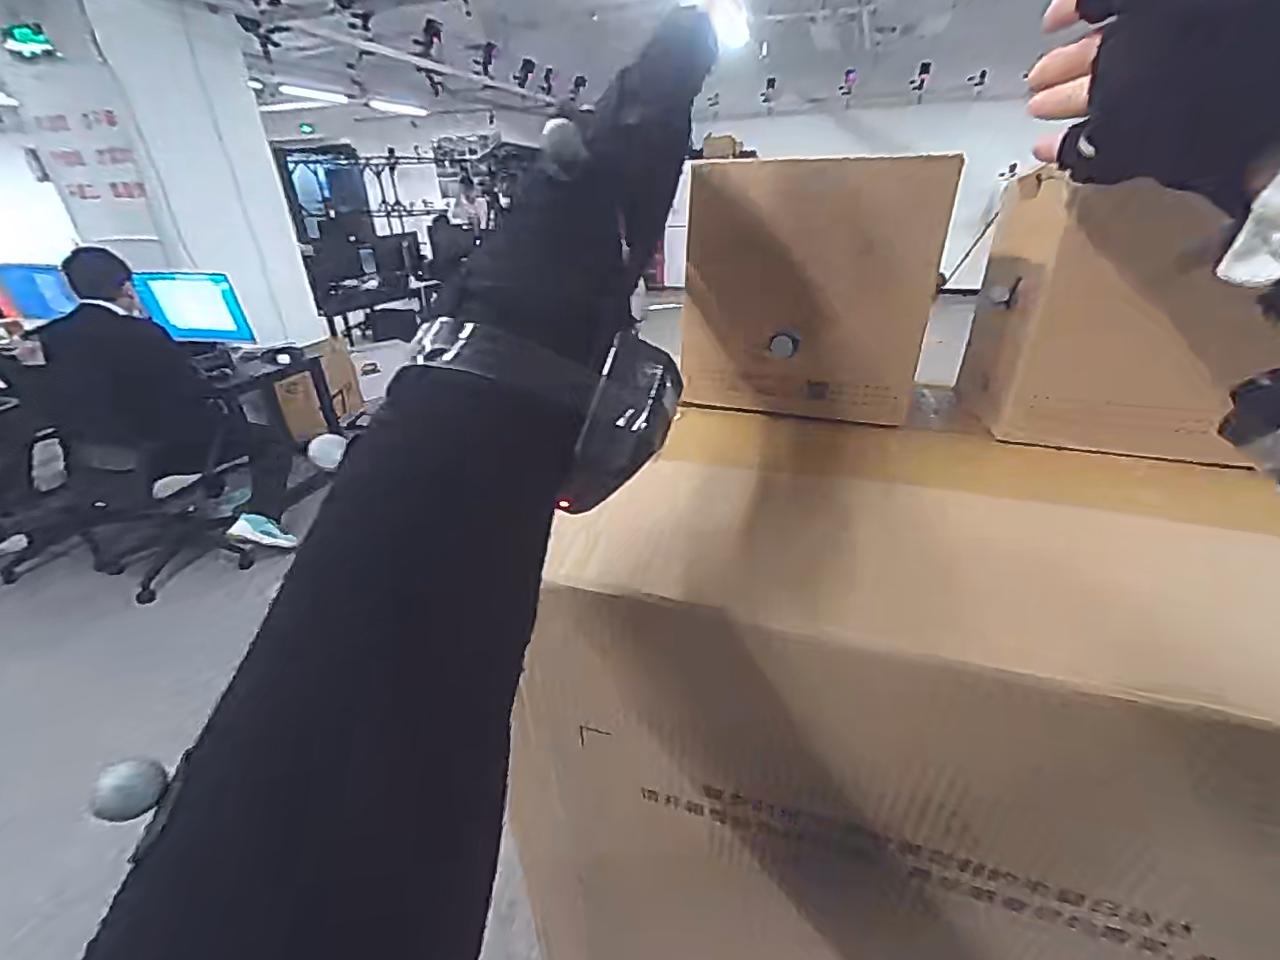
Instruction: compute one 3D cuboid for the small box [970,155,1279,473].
[{"bbox_3d":[0.351,-0.115,0.374,0.179,0.176,0.168,9,27,17],"label":"small box"}]
